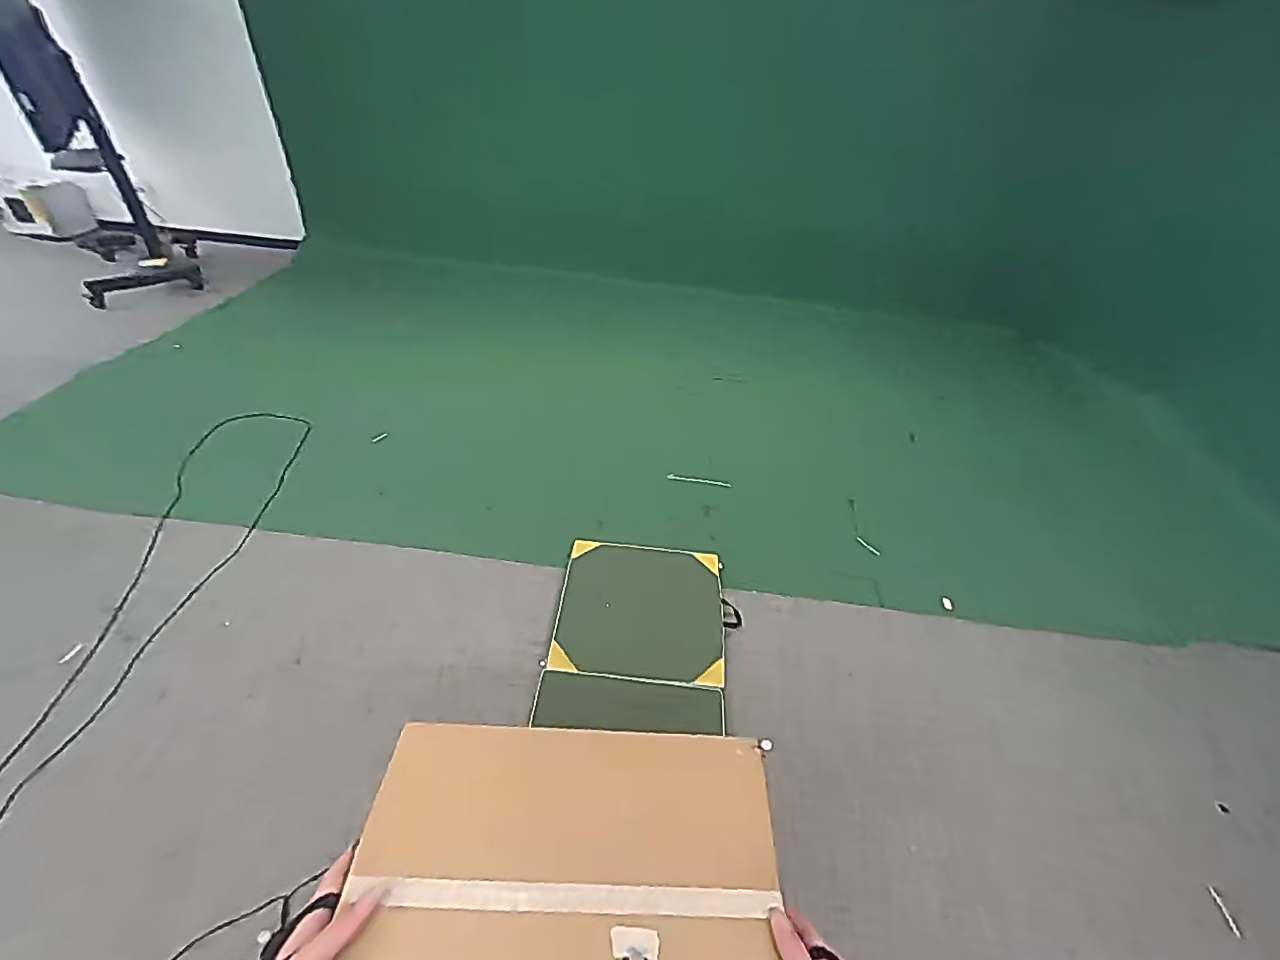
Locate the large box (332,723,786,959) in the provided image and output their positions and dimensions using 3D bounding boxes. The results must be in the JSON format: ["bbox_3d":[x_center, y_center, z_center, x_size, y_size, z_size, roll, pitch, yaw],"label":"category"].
[{"bbox_3d":[-0.076,0.501,0.605,0.408,0.320,0.320,3,40,-1],"label":"large box"}]
